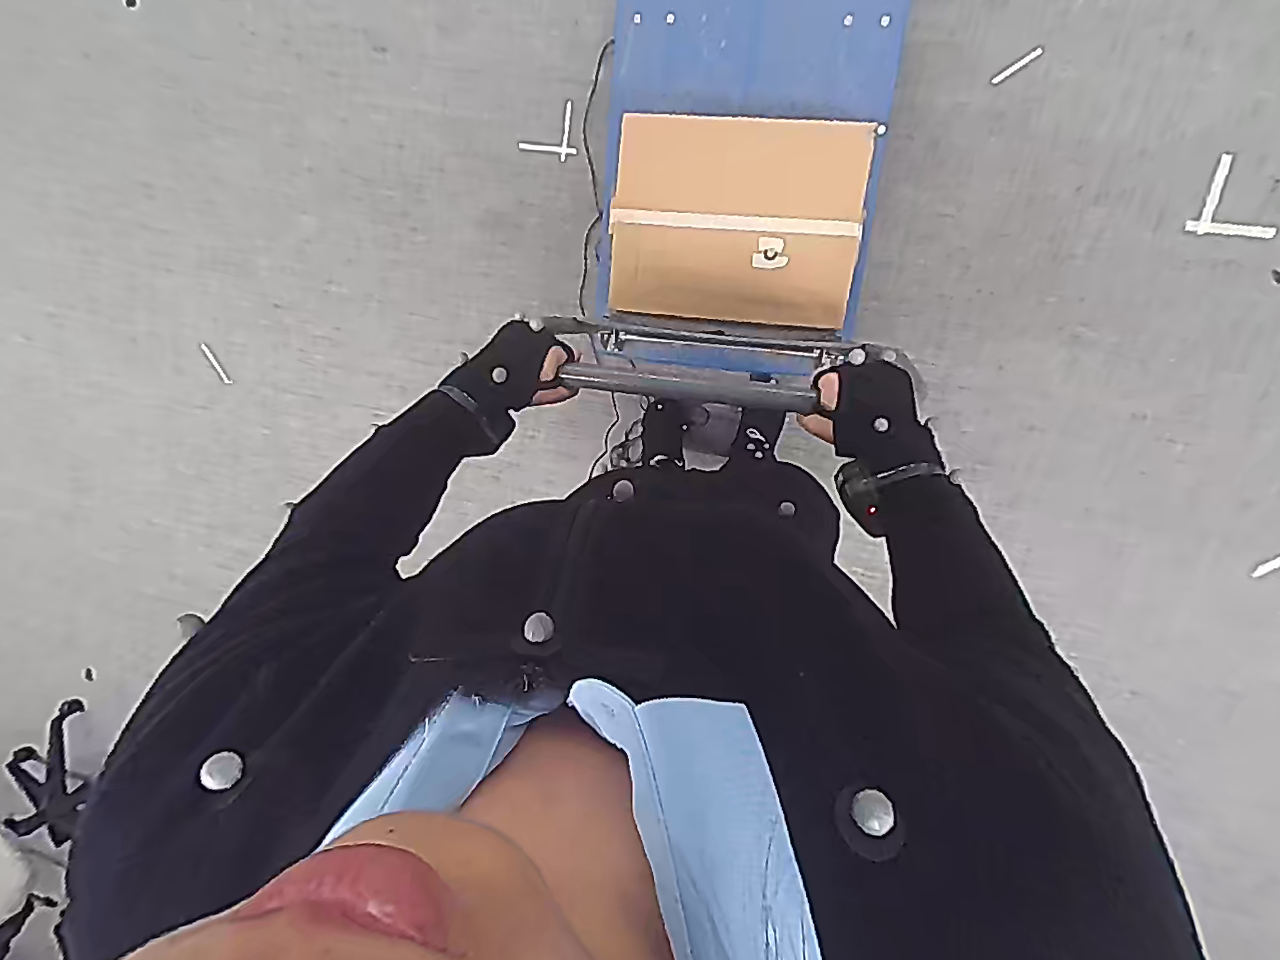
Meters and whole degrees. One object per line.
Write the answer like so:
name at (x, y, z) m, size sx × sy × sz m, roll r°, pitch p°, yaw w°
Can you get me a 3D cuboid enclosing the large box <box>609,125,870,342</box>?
large box at (0.170, -0.442, 1.038) m, size 0.408 × 0.320 × 0.320 m, roll 7°, pitch 104°, yaw 7°
